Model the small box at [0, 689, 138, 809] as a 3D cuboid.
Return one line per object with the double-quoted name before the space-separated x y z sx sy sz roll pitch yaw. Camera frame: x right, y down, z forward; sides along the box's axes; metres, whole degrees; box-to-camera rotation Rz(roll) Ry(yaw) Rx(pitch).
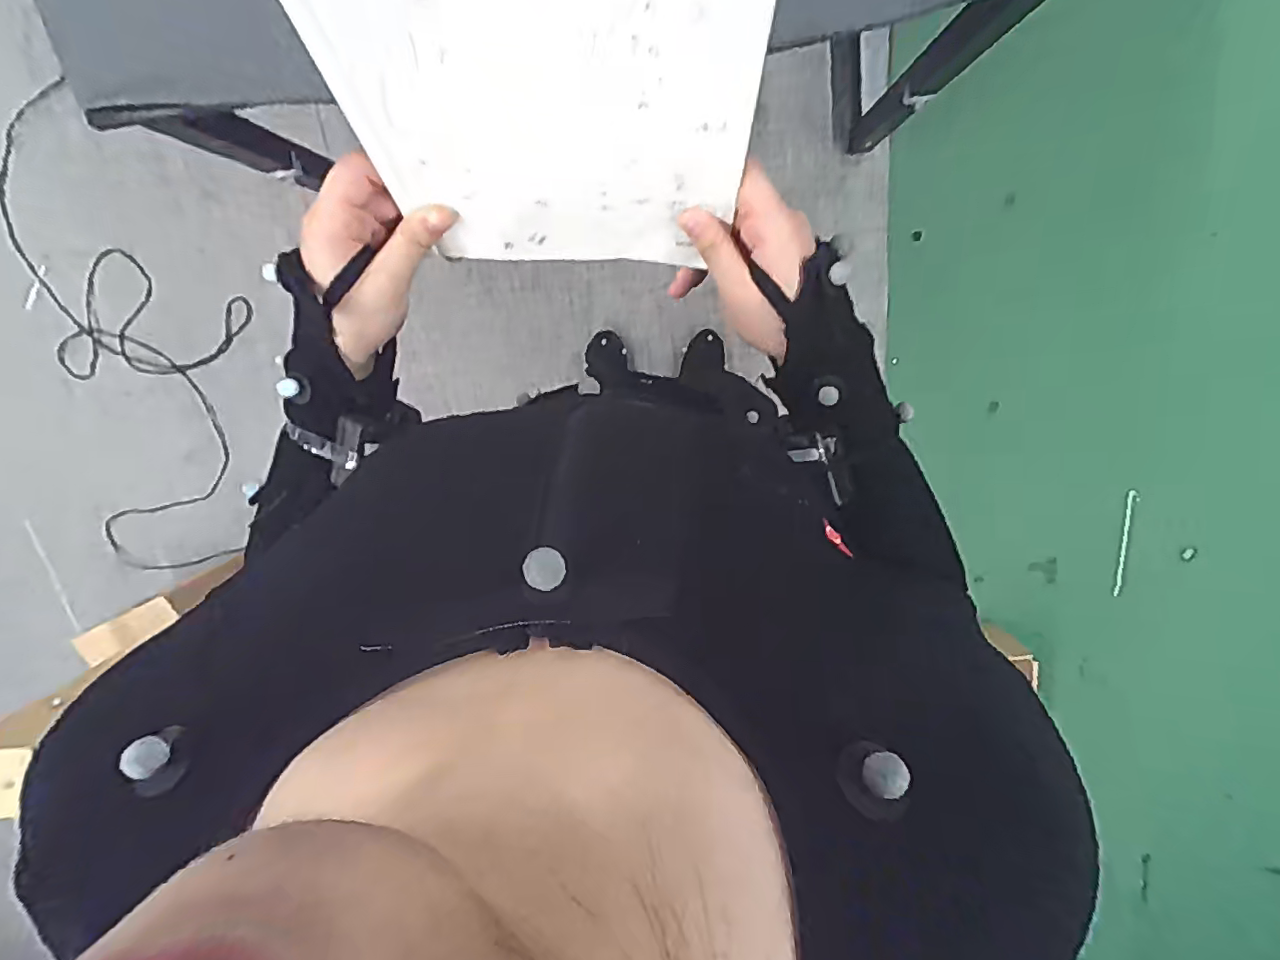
"small box" -1.251 0.569 1.157 0.179 0.176 0.168 -3 107 5
